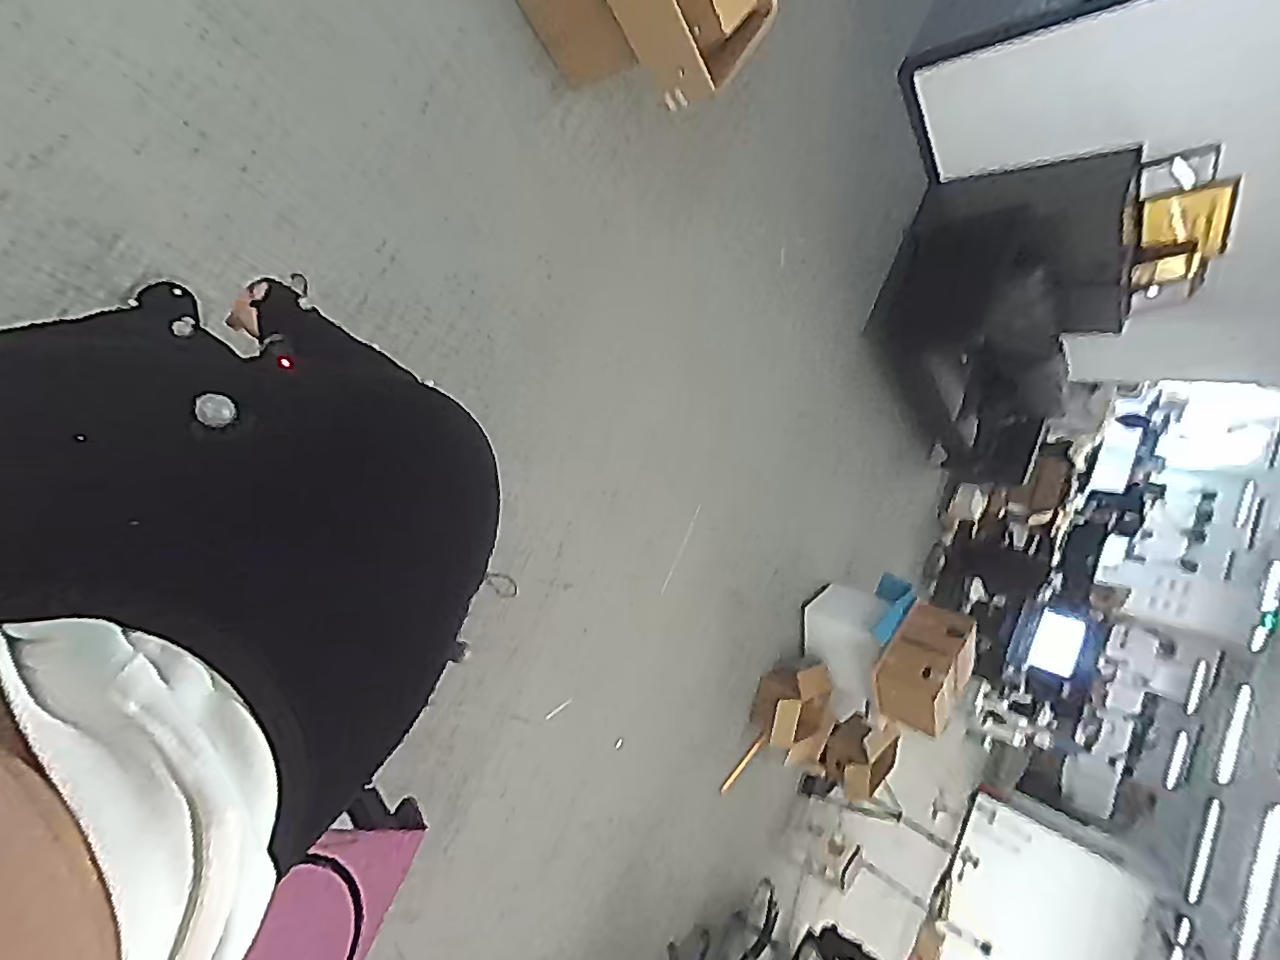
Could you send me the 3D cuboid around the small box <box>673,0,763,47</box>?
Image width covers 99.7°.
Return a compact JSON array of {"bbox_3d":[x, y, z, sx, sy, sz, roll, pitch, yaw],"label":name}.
[{"bbox_3d":[0.202,-1.301,1.433,0.179,0.176,0.168,-54,133,-16],"label":"small box"}]
